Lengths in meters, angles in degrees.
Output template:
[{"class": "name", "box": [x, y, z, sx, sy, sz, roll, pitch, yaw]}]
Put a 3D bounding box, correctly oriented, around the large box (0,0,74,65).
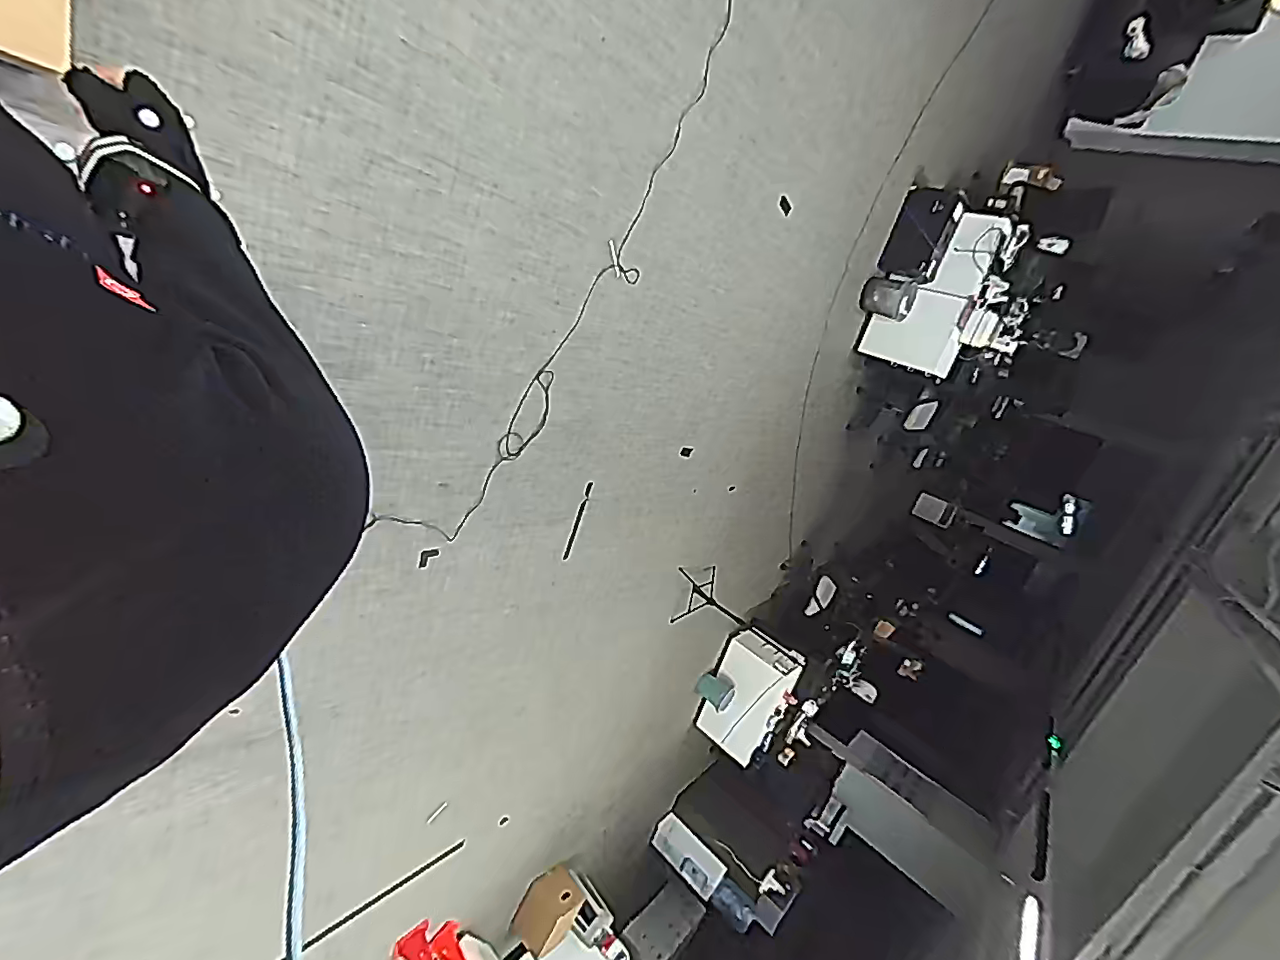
[{"class": "large box", "box": [-0.959, -0.747, 0.612, 0.408, 0.320, 0.320, -5, 120, -52]}]
